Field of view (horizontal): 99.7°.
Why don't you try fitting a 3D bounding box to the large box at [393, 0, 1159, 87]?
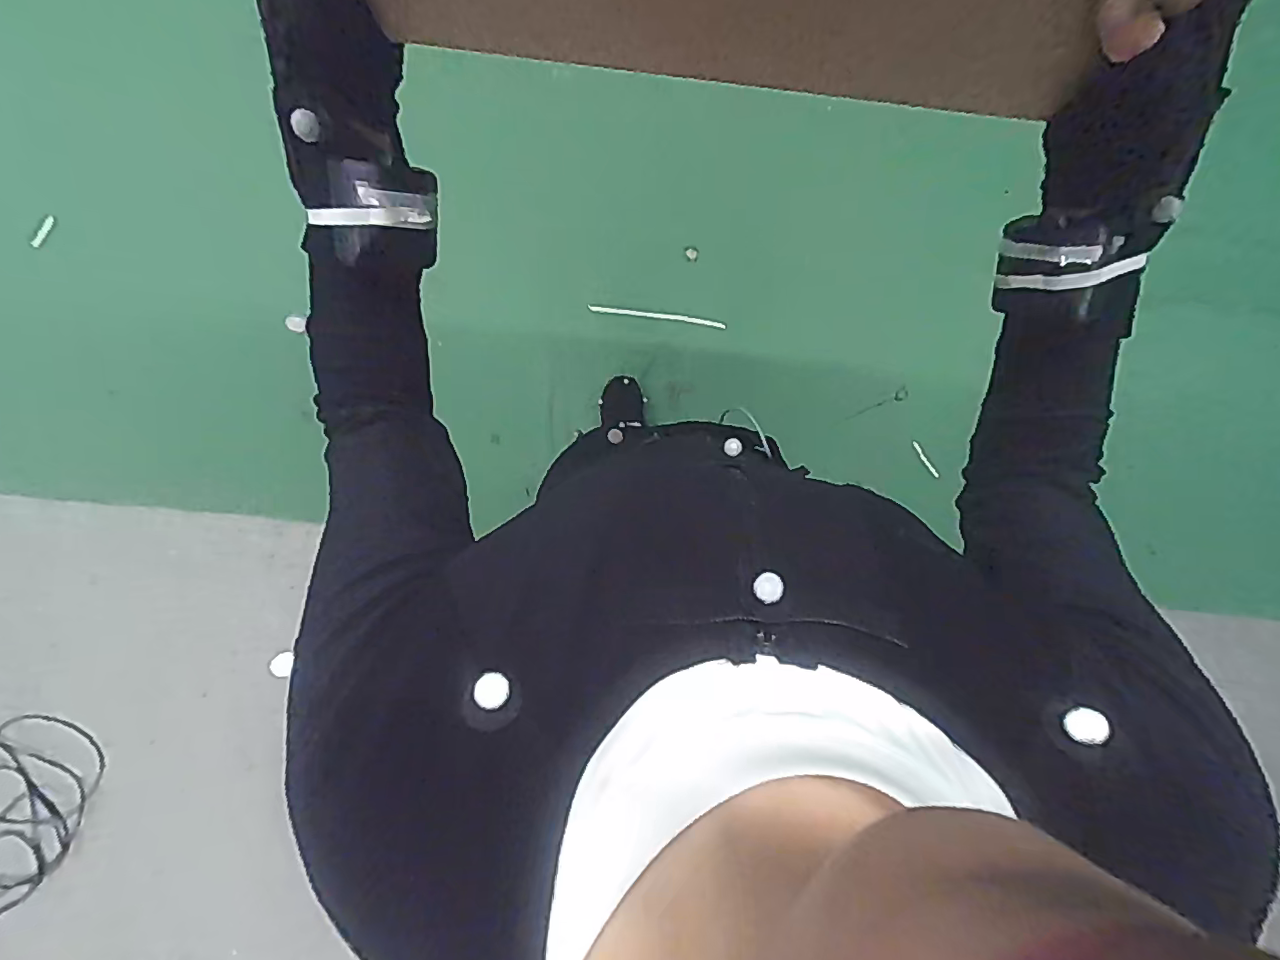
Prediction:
[{"bbox_3d":[0.078,-0.393,0.165,0.408,0.320,0.320,4,92,-5],"label":"large box"}]
